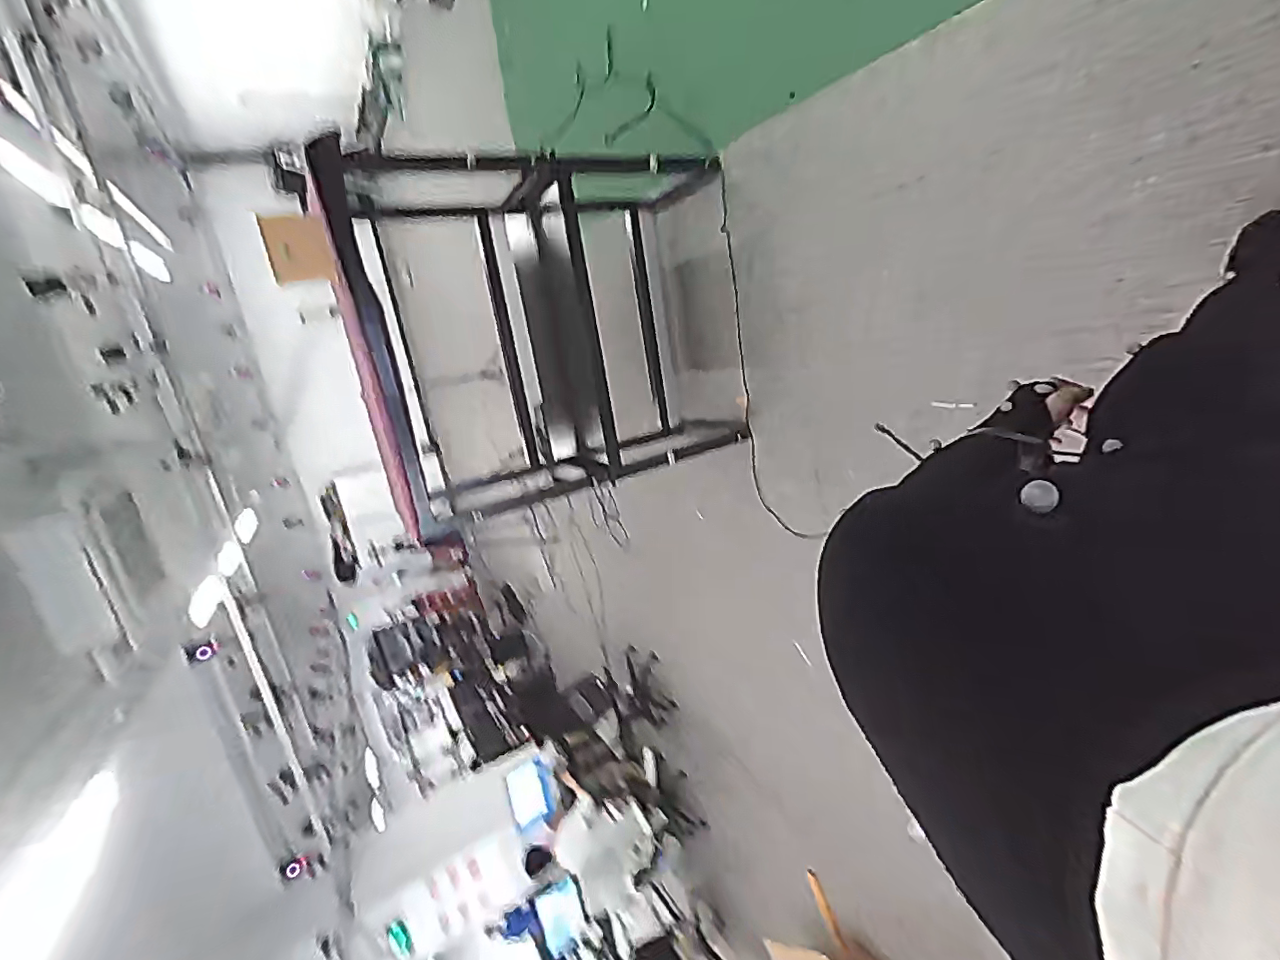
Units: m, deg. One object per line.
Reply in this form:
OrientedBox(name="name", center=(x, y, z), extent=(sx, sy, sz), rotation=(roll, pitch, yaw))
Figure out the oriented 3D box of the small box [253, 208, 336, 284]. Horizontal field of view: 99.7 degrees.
OrientedBox(name="small box", center=(-1.030, -0.702, 1.628), extent=(0.168, 0.176, 0.179), rotation=(17, 121, 59))
